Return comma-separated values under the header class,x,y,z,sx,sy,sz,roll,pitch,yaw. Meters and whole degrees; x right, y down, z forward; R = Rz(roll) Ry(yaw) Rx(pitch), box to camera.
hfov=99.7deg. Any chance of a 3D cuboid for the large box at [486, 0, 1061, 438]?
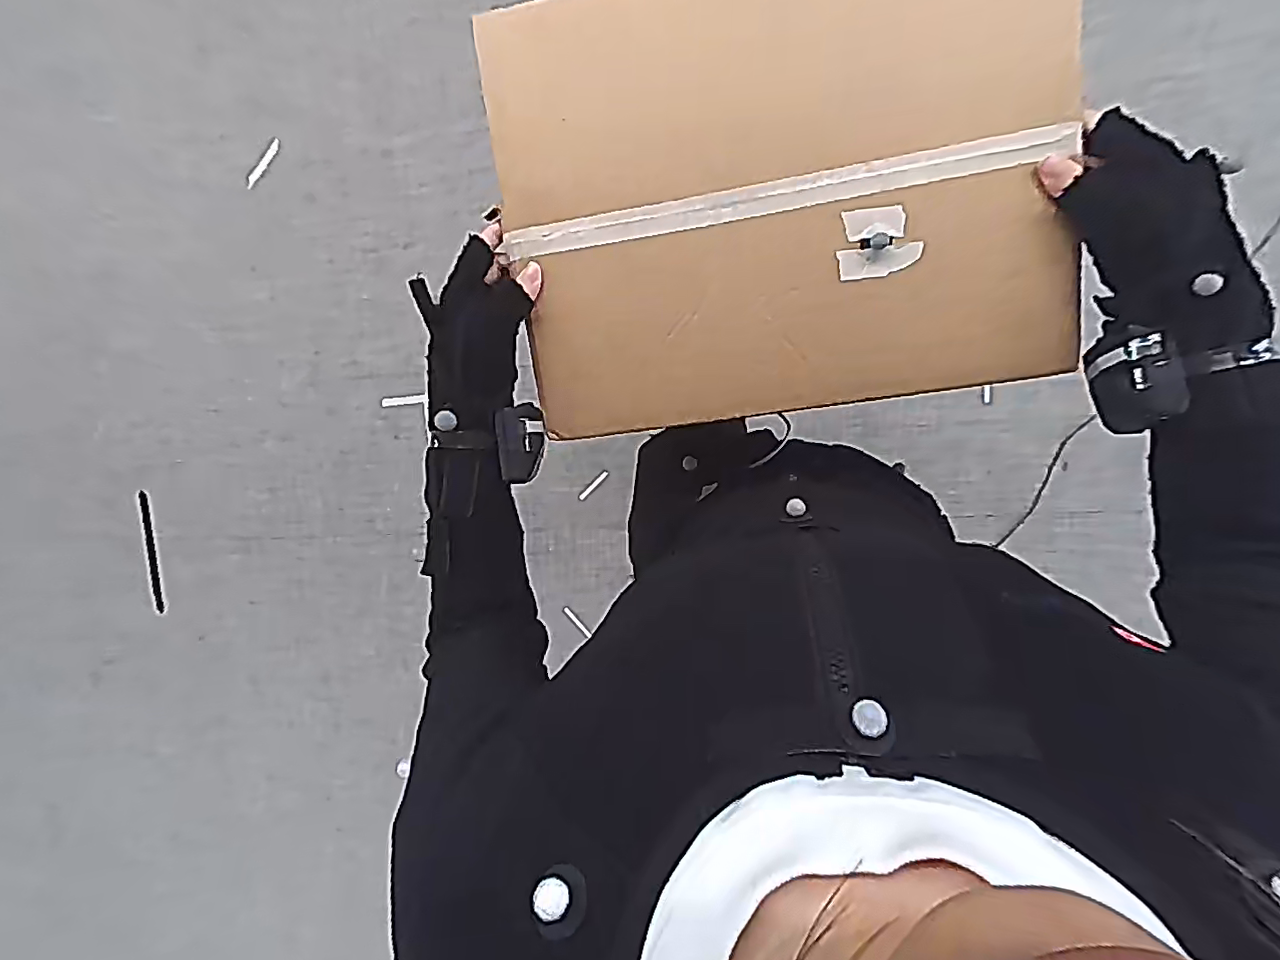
class,x,y,z,sx,sy,sz,roll,pitch,yaw
large box,0.114,-0.240,0.553,0.408,0.320,0.320,-8,102,7
